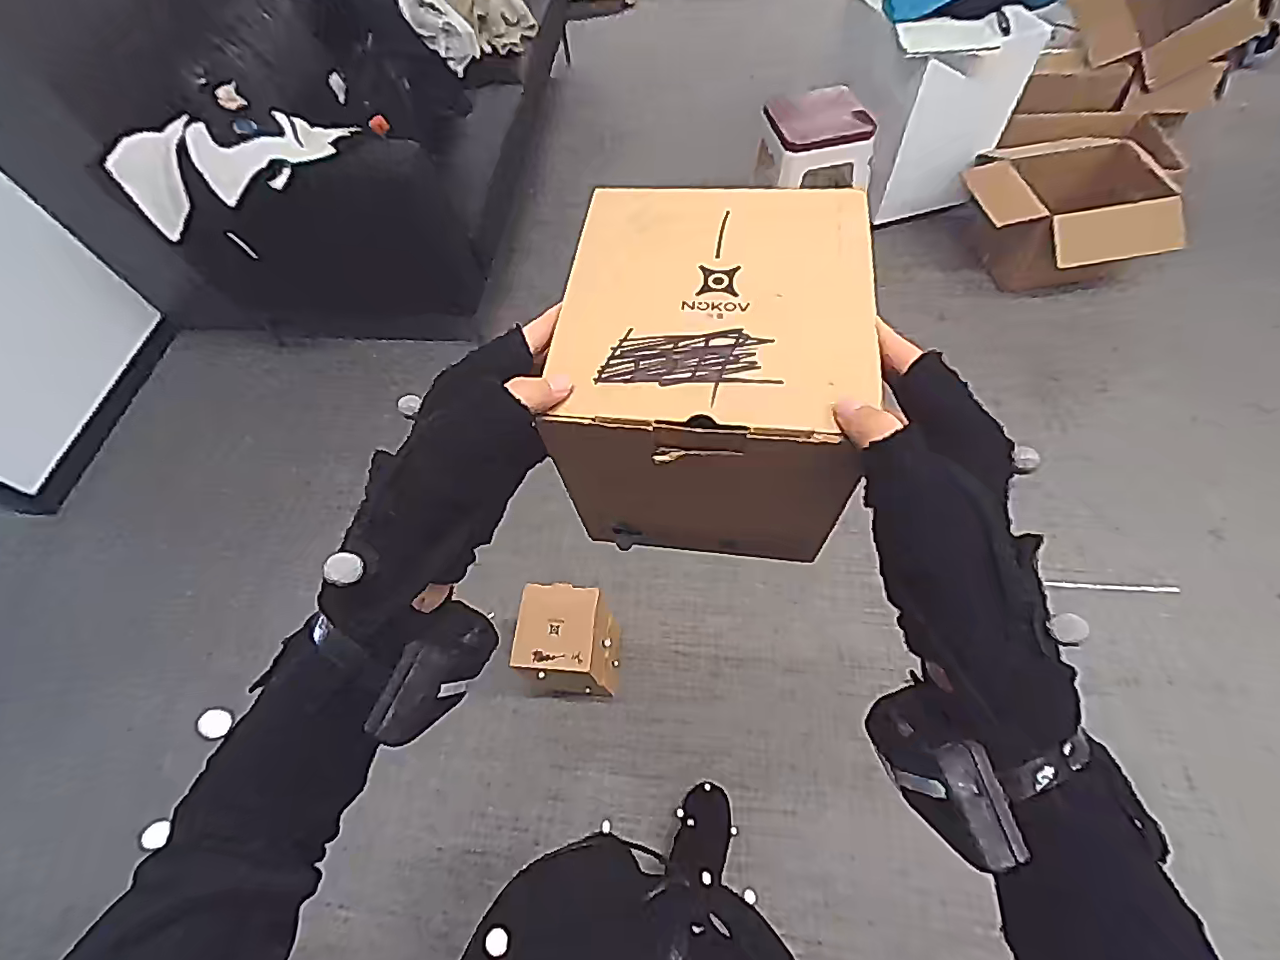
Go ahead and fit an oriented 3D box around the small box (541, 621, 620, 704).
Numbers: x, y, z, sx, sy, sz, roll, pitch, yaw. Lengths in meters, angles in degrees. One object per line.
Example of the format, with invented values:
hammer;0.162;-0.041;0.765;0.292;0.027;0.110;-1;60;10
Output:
small box;-0.152;0.443;1.321;0.179;0.176;0.168;3;60;7

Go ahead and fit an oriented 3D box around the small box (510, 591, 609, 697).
small box;-0.165;0.359;1.180;0.168;0.176;0.179;2;58;7

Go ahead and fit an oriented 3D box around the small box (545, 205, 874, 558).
small box;0.051;-0.058;0.371;0.168;0.176;0.179;5;61;8
